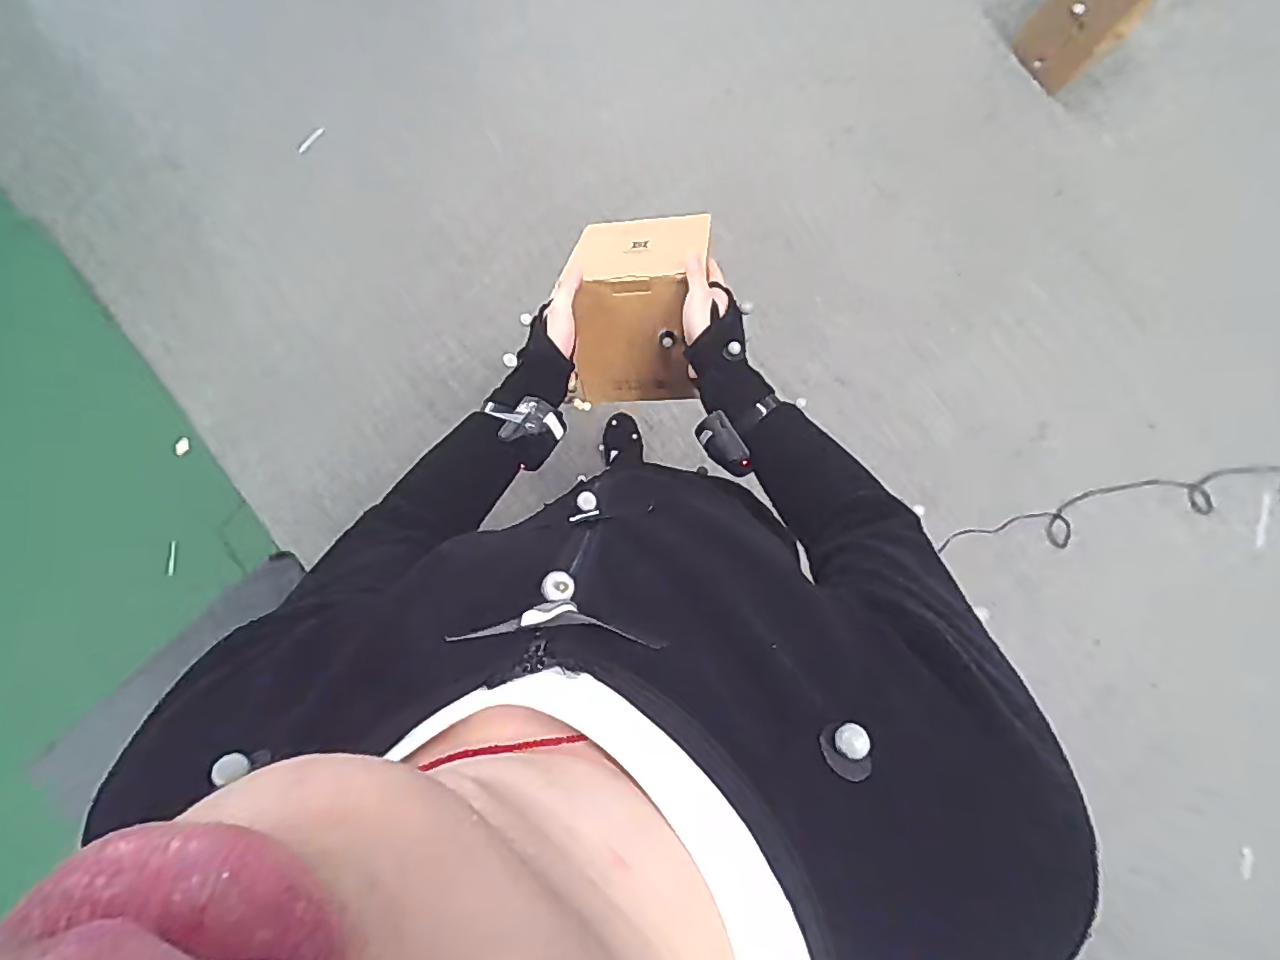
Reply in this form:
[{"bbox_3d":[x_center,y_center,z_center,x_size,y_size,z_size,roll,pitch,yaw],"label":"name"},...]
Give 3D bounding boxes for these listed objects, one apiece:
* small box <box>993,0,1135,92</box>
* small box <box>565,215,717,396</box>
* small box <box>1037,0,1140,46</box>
[{"bbox_3d":[1.014,-1.092,1.310,0.168,0.176,0.179,-40,89,8],"label":"small box"},{"bbox_3d":[0.014,-0.221,0.700,0.168,0.179,0.176,0,134,9],"label":"small box"},{"bbox_3d":[0.989,-1.077,1.125,0.179,0.176,0.168,-35,88,7],"label":"small box"}]
